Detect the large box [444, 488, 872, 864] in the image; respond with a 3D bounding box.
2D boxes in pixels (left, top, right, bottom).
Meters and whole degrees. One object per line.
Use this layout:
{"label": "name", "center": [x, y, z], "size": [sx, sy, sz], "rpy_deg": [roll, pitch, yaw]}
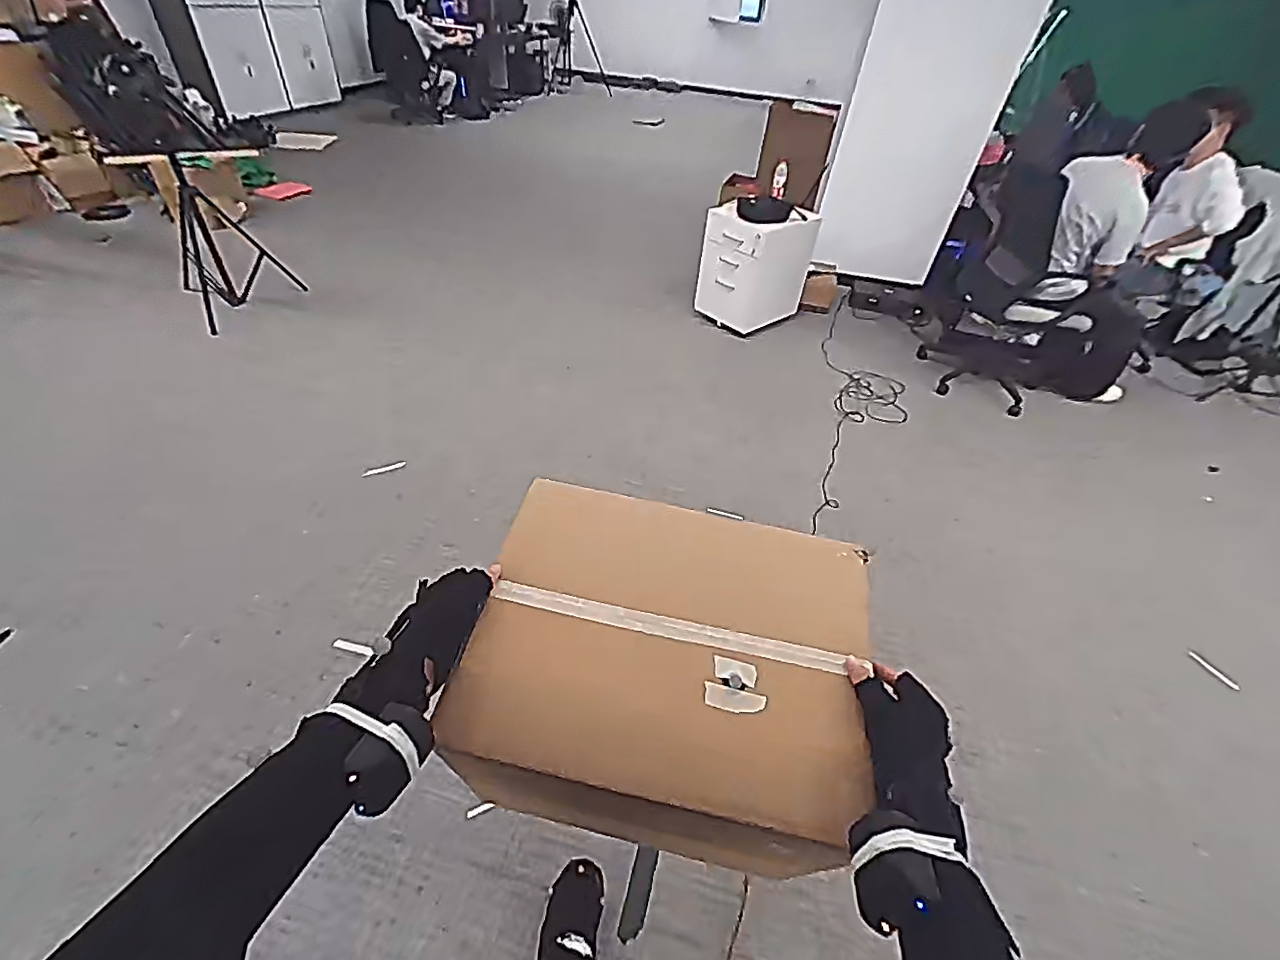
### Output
{"label": "large box", "center": [0.026, 0.253, 0.693], "size": [0.408, 0.320, 0.320], "rpy_deg": [11, 51, 4]}
